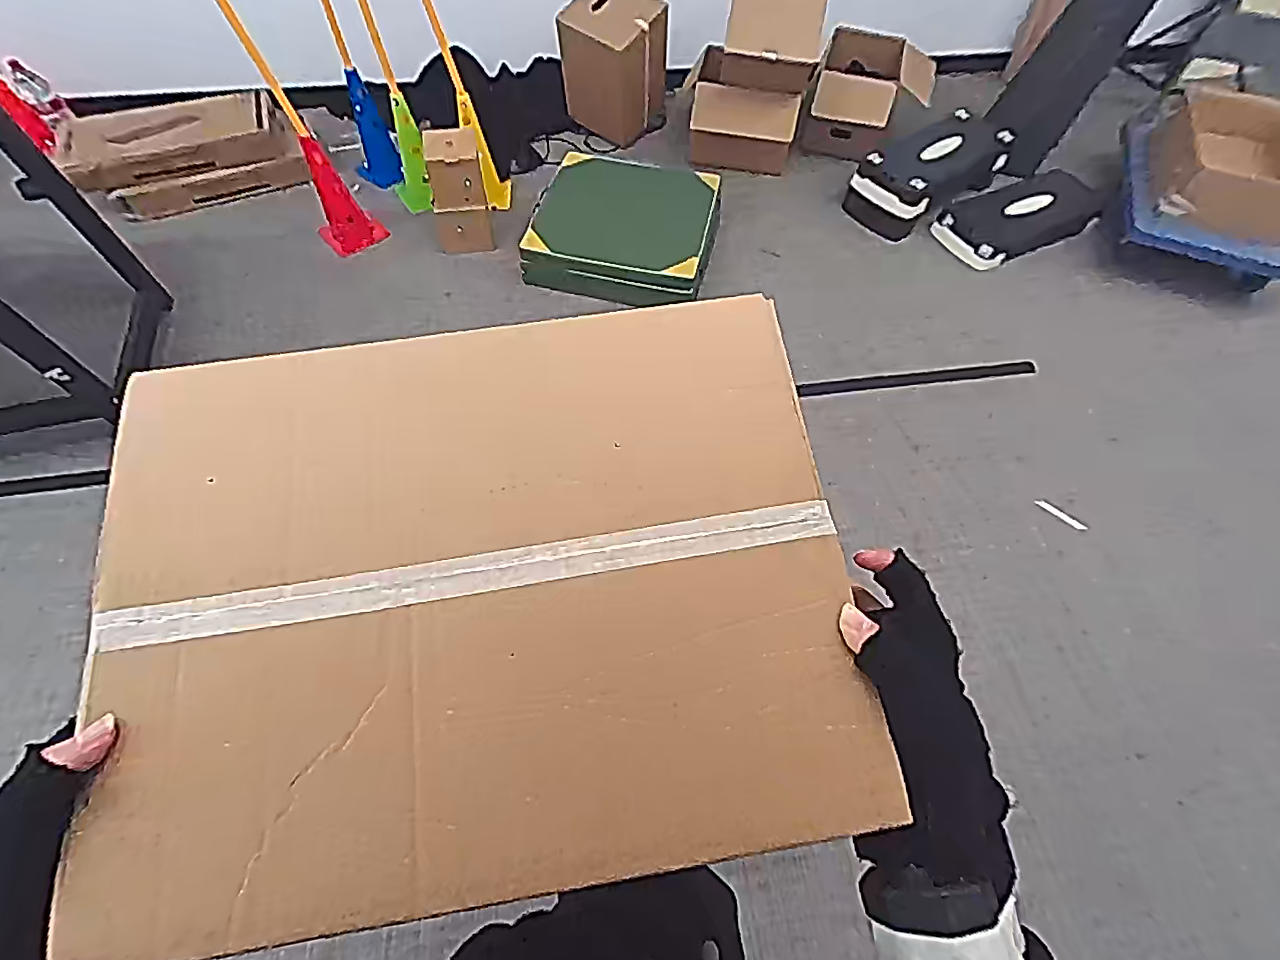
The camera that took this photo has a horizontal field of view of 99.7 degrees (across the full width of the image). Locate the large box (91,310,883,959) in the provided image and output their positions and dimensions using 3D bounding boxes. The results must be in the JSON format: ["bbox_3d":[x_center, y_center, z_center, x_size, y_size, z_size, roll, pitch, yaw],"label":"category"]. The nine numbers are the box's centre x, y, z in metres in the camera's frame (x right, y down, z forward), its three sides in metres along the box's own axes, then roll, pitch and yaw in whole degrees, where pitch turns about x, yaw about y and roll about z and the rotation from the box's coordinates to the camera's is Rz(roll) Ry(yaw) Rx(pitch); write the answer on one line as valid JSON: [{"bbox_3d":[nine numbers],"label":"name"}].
[{"bbox_3d":[-0.092,0.102,0.453,0.408,0.320,0.320,-9,72,-3],"label":"large box"}]
